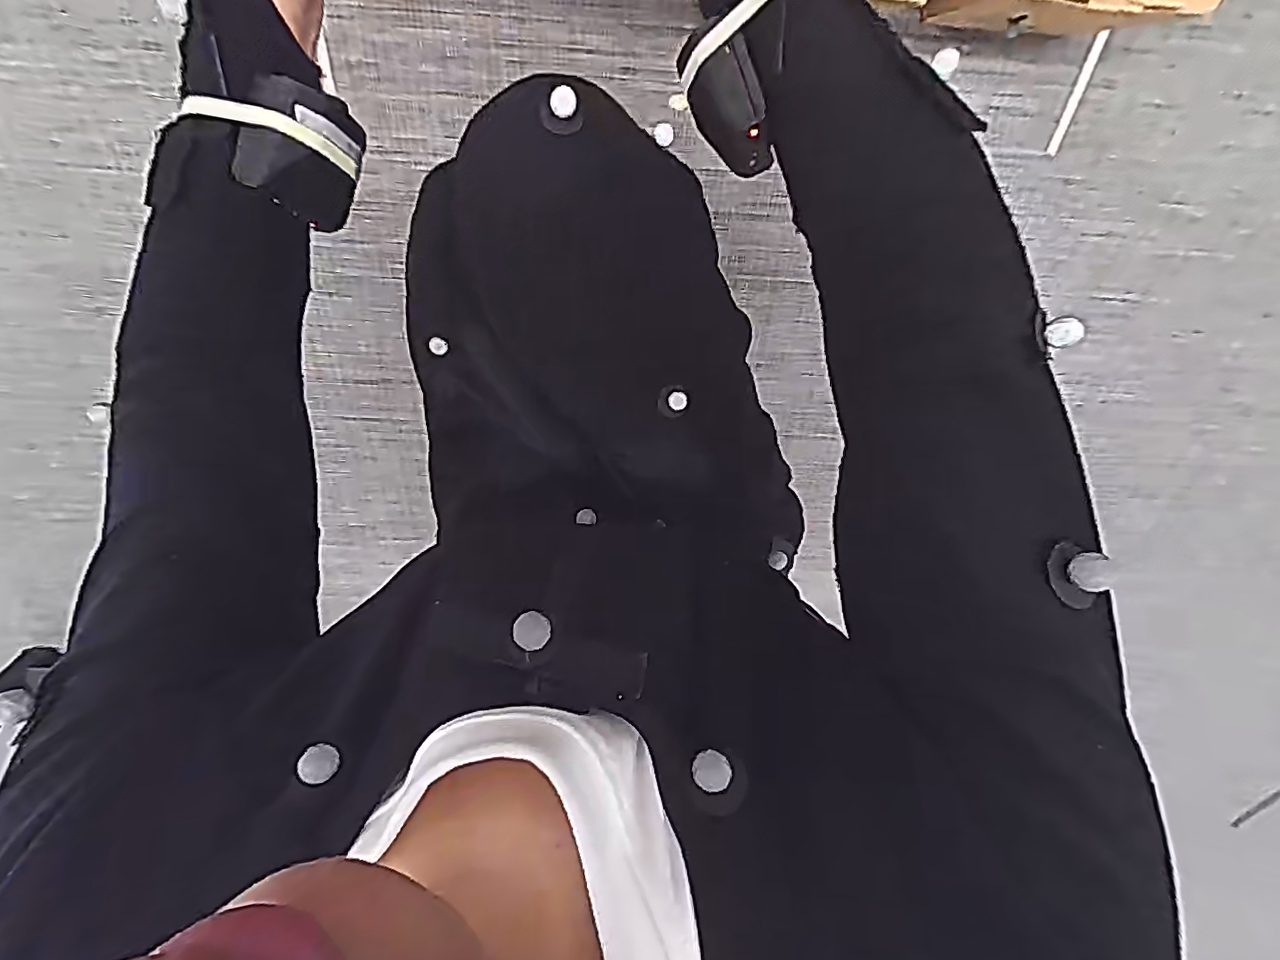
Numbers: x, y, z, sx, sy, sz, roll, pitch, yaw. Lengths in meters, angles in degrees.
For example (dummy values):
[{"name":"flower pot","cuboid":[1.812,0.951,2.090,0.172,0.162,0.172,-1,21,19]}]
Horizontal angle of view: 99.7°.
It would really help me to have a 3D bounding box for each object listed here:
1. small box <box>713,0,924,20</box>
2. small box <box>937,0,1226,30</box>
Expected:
[{"name":"small box","cuboid":[0.147,-0.487,0.418,0.168,0.176,0.179,4,126,-4]},{"name":"small box","cuboid":[0.374,-0.485,0.430,0.168,0.176,0.179,2,126,-4]}]
